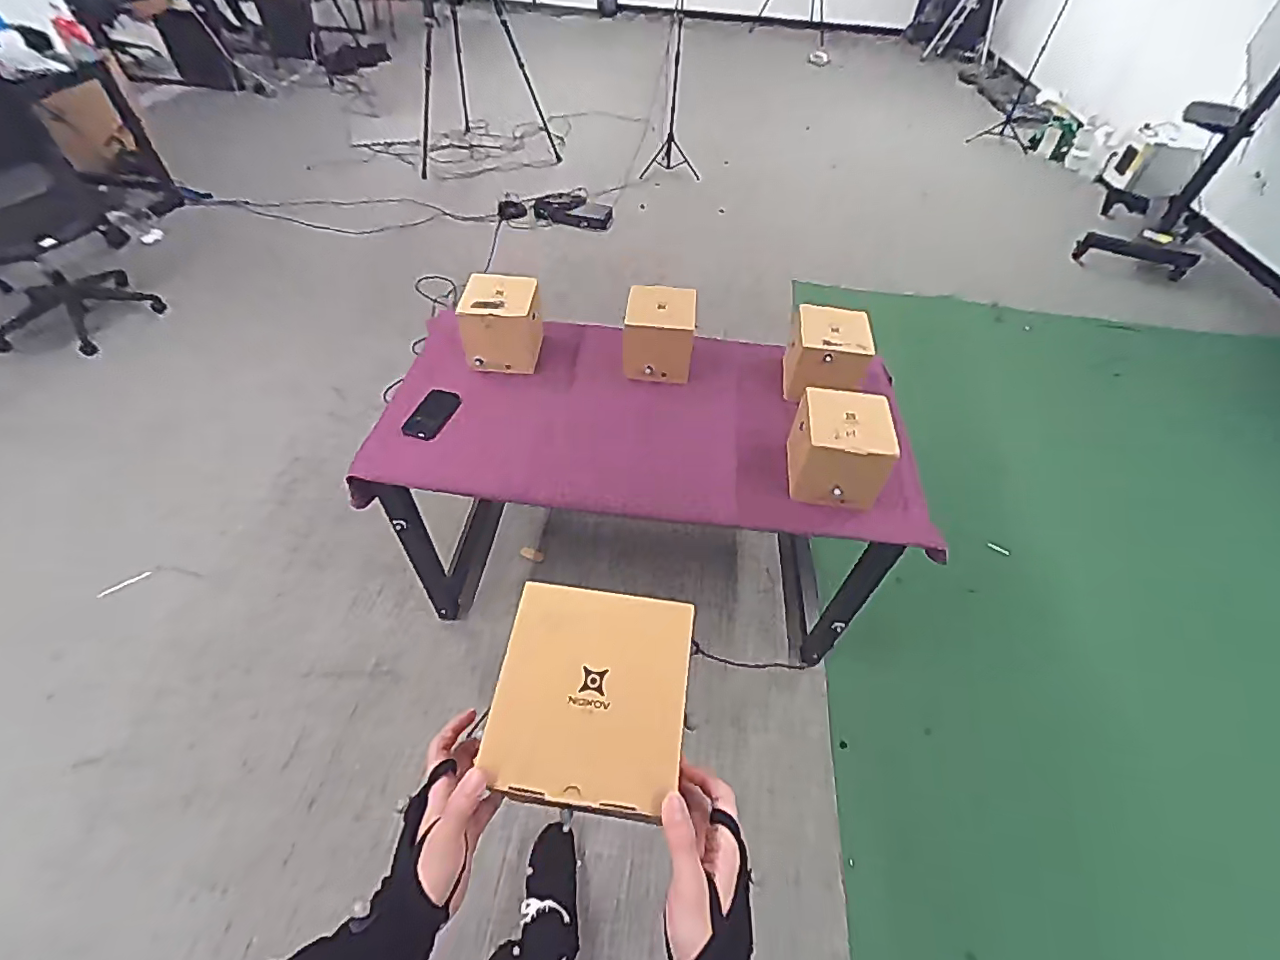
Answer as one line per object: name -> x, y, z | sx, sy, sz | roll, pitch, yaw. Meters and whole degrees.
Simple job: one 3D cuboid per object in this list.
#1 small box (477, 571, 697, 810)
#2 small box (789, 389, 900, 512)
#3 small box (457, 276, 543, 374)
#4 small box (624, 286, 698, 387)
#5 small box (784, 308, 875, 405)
small box -> -0.042, 0.213, 0.538 | 0.168, 0.176, 0.179 | 7, 58, 3
small box -> 0.410, -0.061, 1.119 | 0.168, 0.176, 0.179 | 8, 49, 4
small box -> -0.338, -0.383, 1.346 | 0.168, 0.176, 0.179 | 4, 49, -1
small box -> 0.050, -0.359, 1.356 | 0.168, 0.176, 0.179 | 6, 50, 2
small box -> 0.455, -0.295, 1.329 | 0.168, 0.176, 0.179 | 8, 49, 4
